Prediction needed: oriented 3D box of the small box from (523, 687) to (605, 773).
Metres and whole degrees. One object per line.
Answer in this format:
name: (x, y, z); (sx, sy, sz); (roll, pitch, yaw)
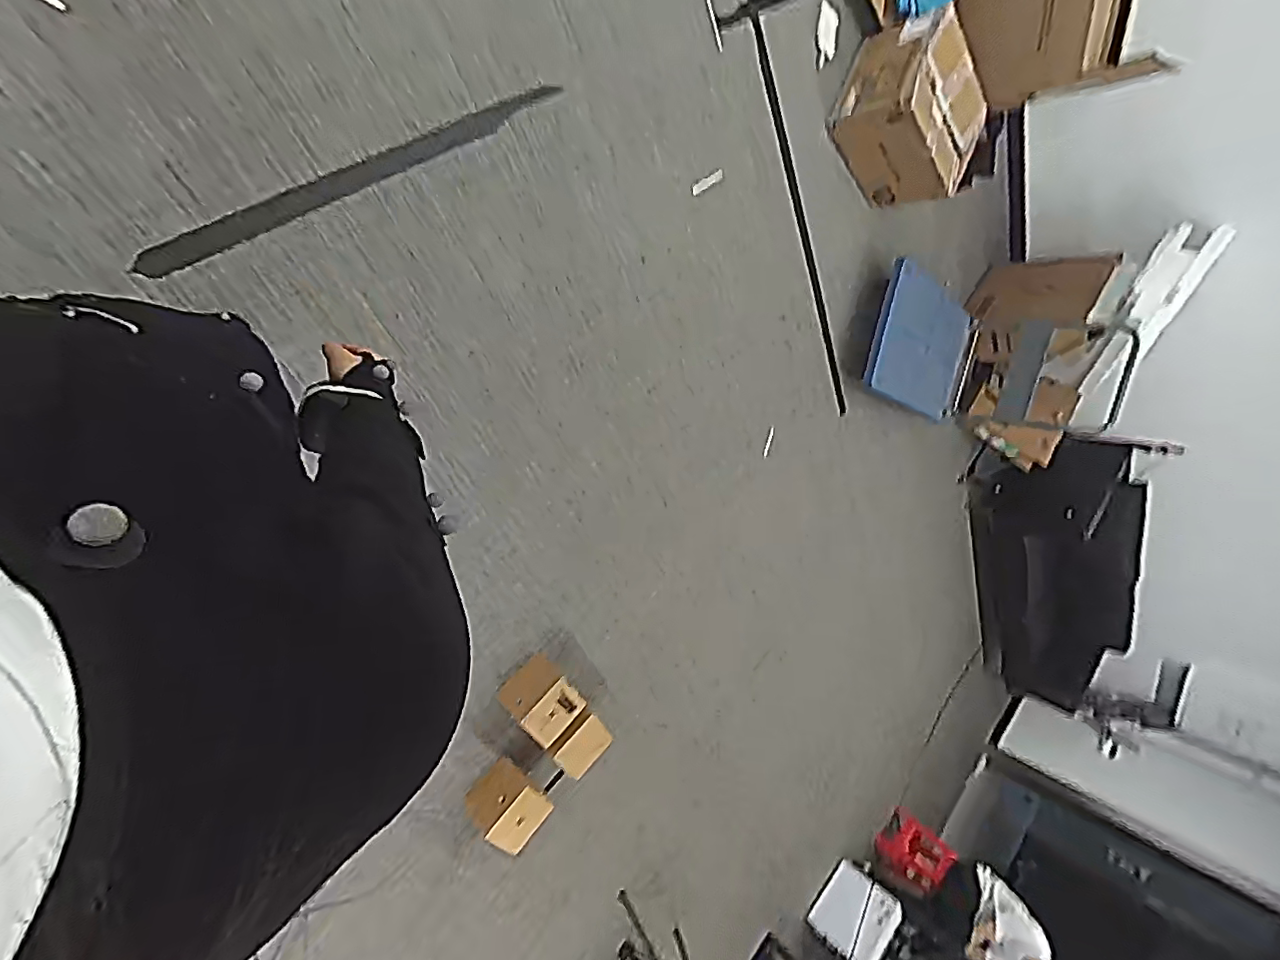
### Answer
small box: (-0.251, 0.843, 1.812); (0.179, 0.176, 0.168); (-42, 126, -24)
